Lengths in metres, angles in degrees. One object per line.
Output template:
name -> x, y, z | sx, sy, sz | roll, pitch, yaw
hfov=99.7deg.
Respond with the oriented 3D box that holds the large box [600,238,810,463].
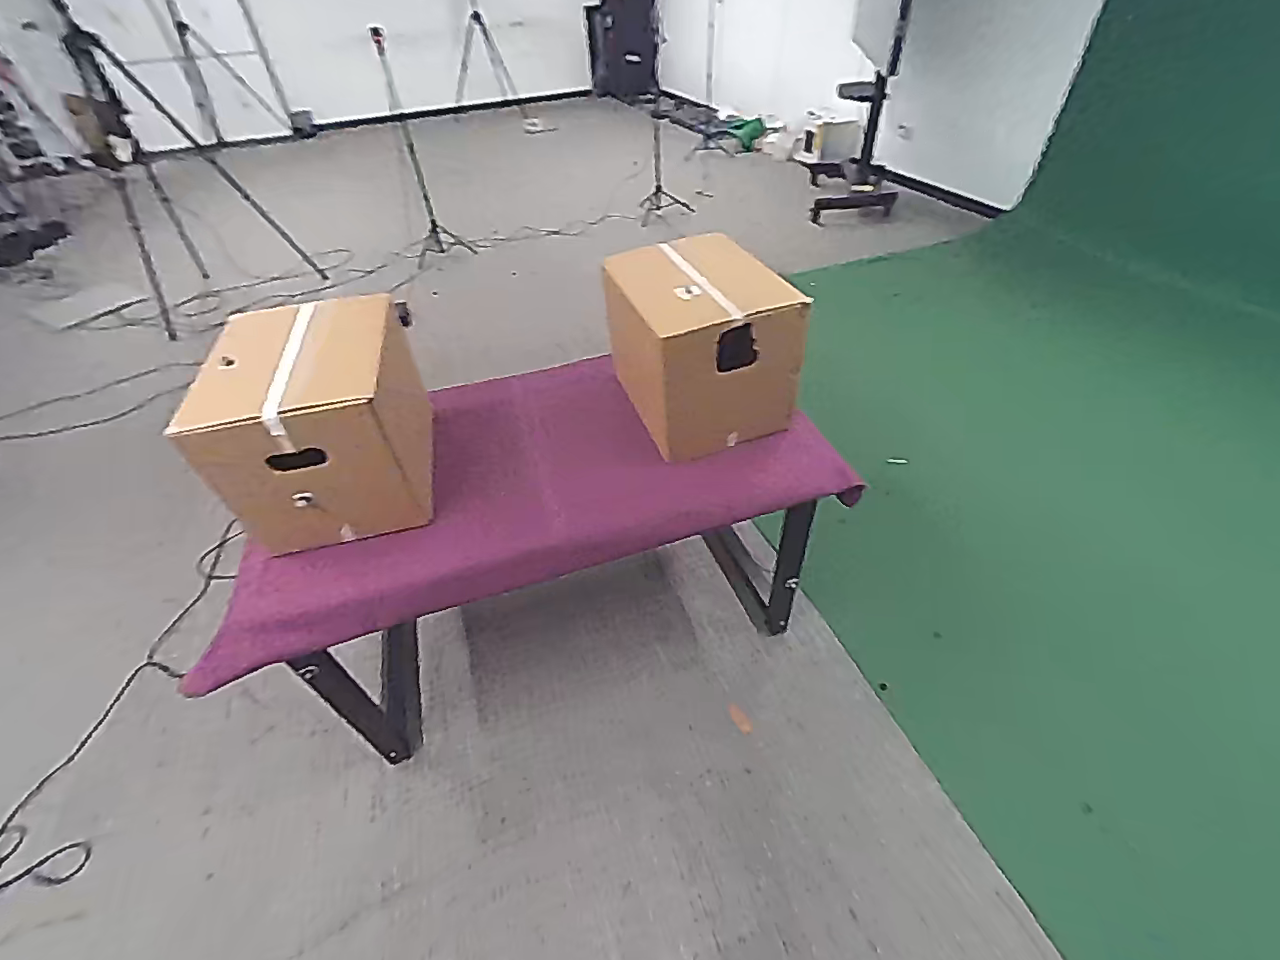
large box -> 0.126, -0.307, 1.241 | 0.320, 0.320, 0.408 | -18, 46, -11
